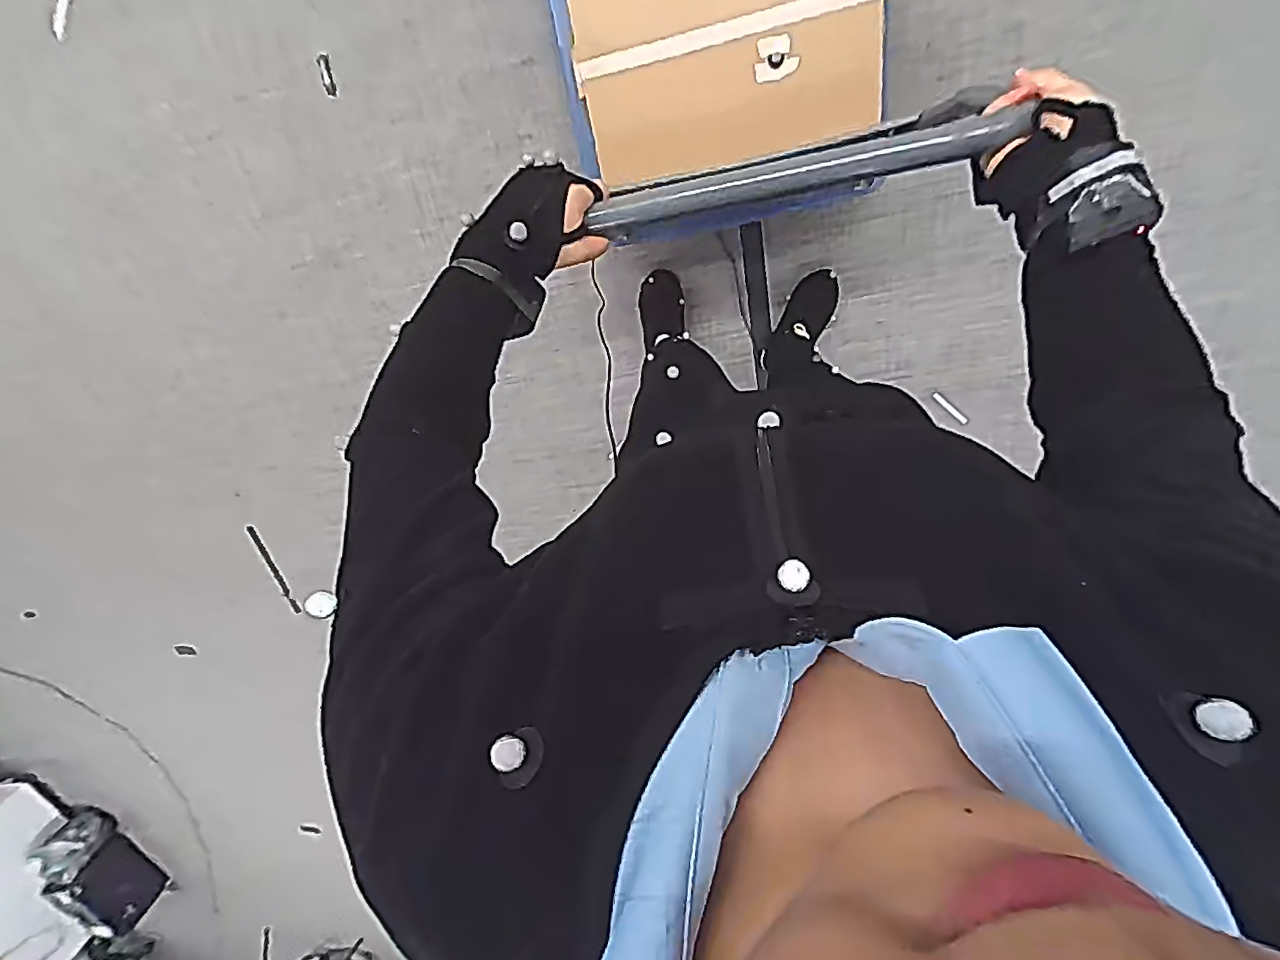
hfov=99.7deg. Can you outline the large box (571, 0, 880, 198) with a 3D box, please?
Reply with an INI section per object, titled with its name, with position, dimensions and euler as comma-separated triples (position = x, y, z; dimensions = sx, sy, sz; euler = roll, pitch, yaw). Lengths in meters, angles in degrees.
[large box]
position = 0.132, -0.669, 0.870
dimensions = 0.408, 0.320, 0.320
euler = -7, 116, 11
